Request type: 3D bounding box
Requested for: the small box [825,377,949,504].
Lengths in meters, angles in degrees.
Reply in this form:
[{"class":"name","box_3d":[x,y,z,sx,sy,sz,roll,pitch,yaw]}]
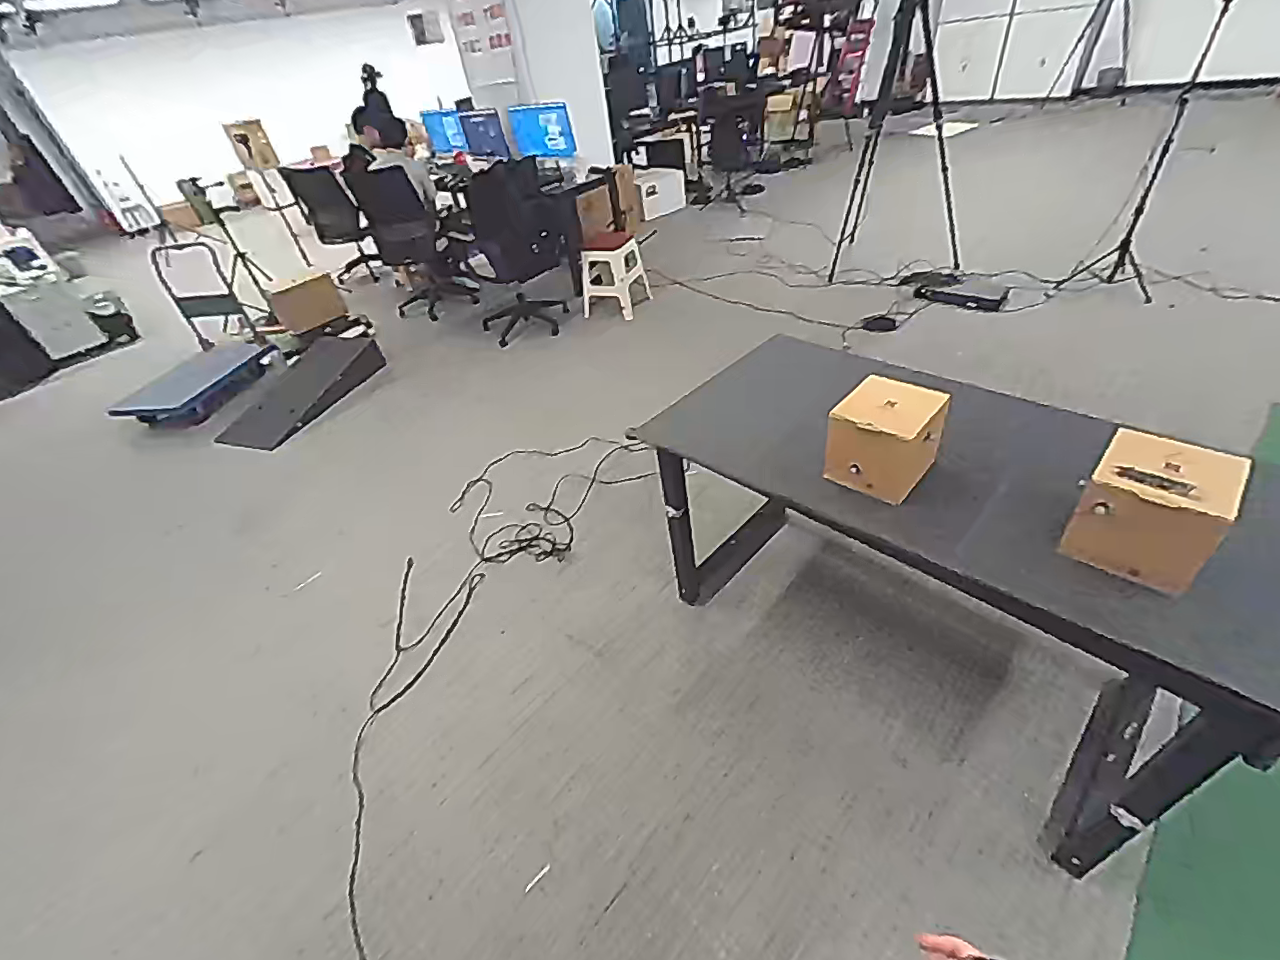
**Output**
[{"class":"small box","box_3d":[0.499,-0.083,1.115,0.168,0.176,0.179,28,53,36]}]
